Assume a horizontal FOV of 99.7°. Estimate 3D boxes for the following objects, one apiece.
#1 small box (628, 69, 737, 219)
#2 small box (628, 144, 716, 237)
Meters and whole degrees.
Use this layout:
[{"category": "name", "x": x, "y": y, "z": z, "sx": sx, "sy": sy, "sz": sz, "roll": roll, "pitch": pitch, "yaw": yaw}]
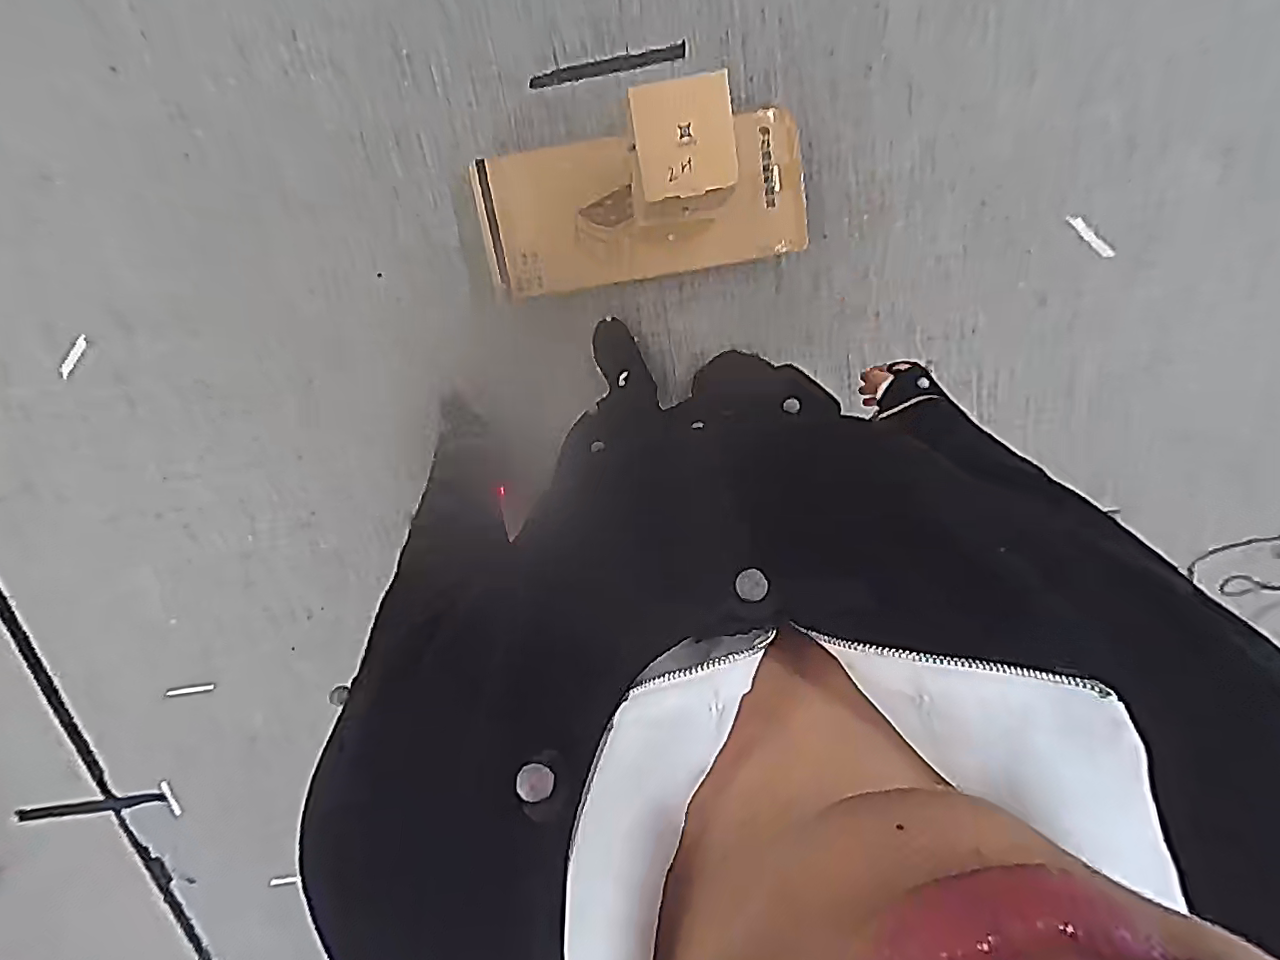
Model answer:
[{"category": "small box", "x": 0.071, "y": -0.594, "z": 0.978, "sx": 0.168, "sy": 0.176, "sz": 0.179, "roll": -10, "pitch": 106, "yaw": 2}, {"category": "small box", "x": 0.064, "y": -0.625, "z": 1.142, "sx": 0.168, "sy": 0.176, "sz": 0.179, "roll": -5, "pitch": 107, "yaw": 1}]
